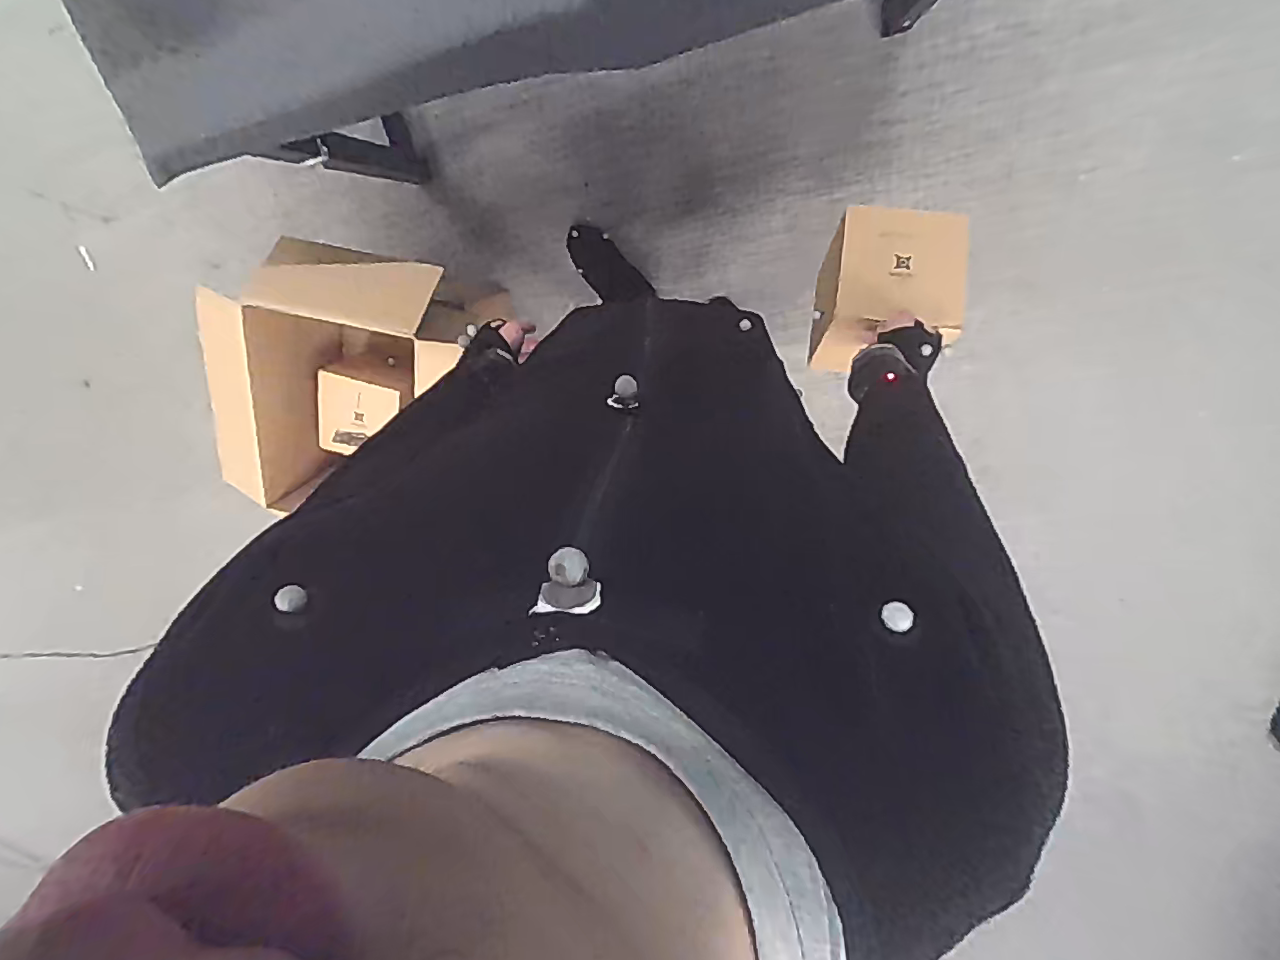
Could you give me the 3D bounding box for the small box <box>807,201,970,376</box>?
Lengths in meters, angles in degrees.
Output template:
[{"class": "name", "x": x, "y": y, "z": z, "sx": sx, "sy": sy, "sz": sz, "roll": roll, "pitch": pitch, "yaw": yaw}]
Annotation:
[{"class": "small box", "x": 0.352, "y": -0.269, "z": 0.794, "sx": 0.168, "sy": 0.176, "sz": 0.179, "roll": 9, "pitch": 78, "yaw": 4}]
